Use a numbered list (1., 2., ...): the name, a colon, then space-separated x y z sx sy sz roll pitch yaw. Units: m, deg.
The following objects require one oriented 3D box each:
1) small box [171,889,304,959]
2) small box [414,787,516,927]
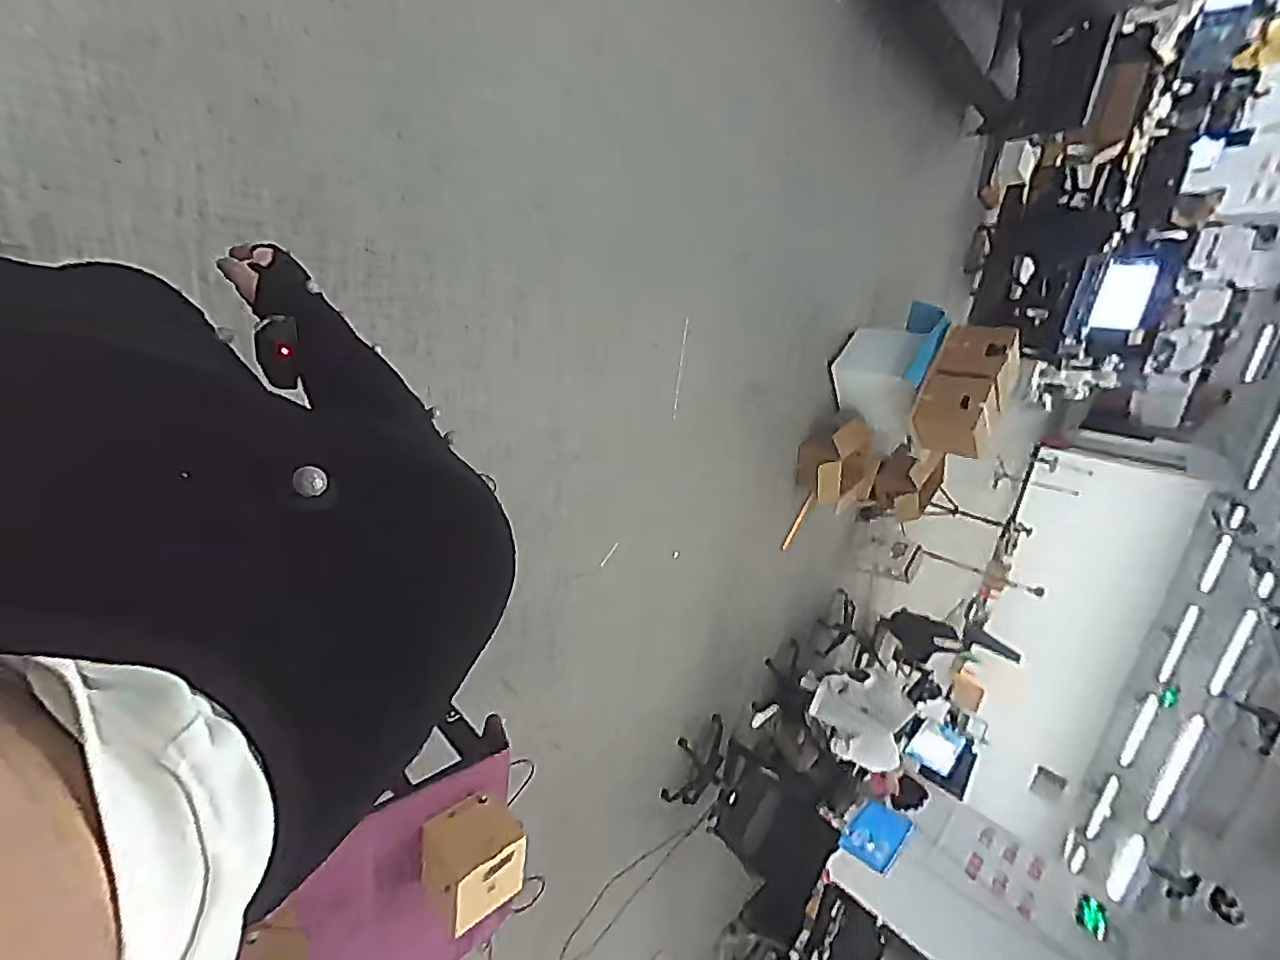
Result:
1. small box: -0.702 0.886 0.950 0.168 0.176 0.179 -10 115 -45
2. small box: -0.403 0.844 1.239 0.168 0.176 0.179 -9 116 -43
